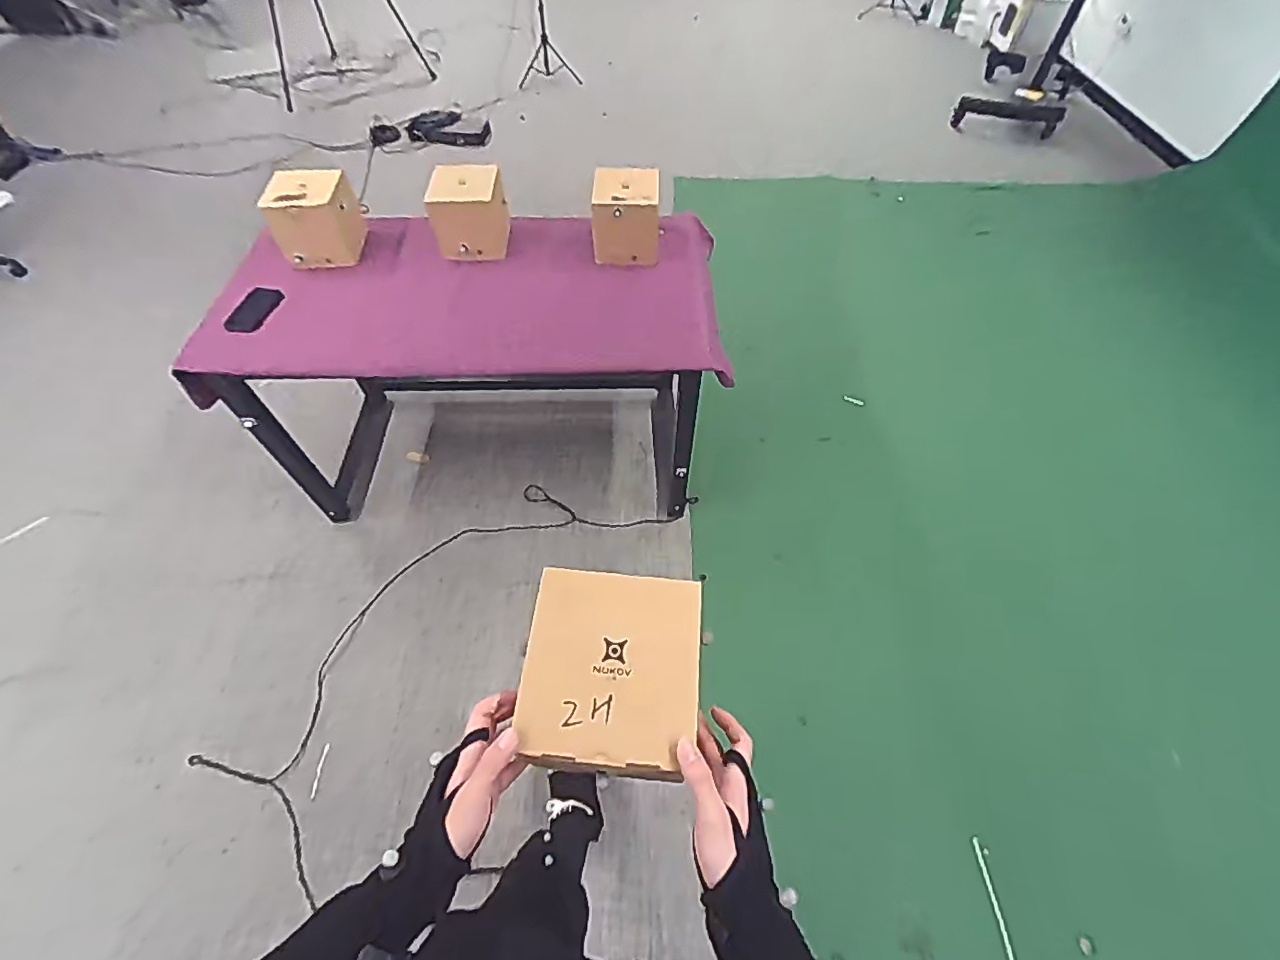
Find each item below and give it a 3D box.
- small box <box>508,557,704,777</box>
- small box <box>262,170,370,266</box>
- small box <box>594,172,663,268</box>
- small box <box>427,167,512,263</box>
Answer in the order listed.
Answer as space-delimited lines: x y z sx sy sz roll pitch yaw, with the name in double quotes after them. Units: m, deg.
-0.027 0.203 0.577 0.168 0.176 0.179 5 58 3 "small box"
-0.826 -0.672 1.400 0.168 0.176 0.179 -3 54 -4 "small box"
-0.028 -0.682 1.421 0.168 0.176 0.179 1 55 1 "small box"
-0.439 -0.698 1.426 0.168 0.176 0.179 -1 56 -1 "small box"
